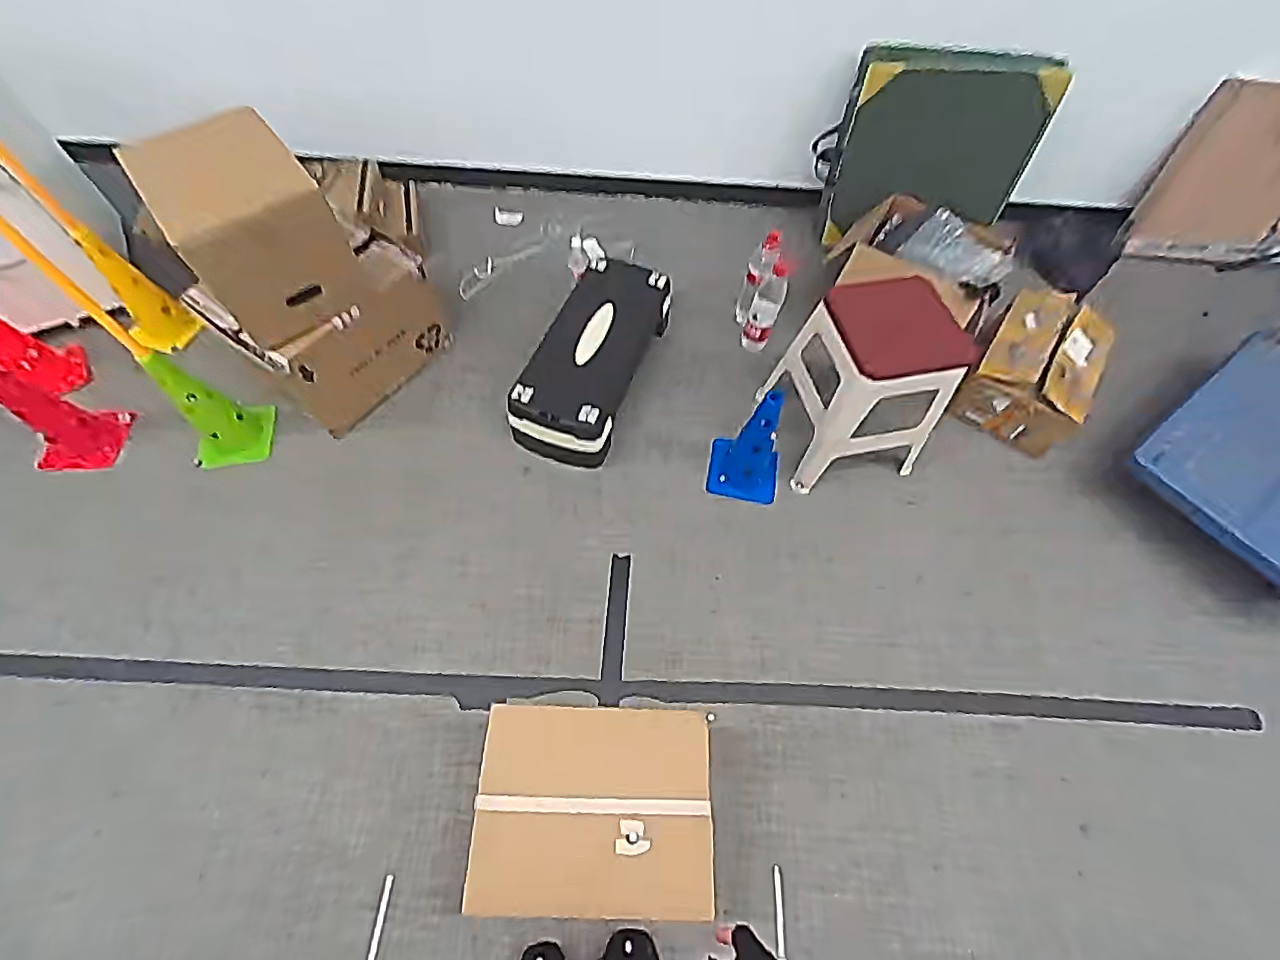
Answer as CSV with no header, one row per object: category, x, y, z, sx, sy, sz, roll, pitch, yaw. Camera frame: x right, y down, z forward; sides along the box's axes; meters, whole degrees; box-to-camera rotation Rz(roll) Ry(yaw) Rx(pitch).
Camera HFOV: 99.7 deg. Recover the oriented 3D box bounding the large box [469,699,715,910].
large box,-0.085,0.624,1.067,0.408,0.320,0.320,3,61,-3
